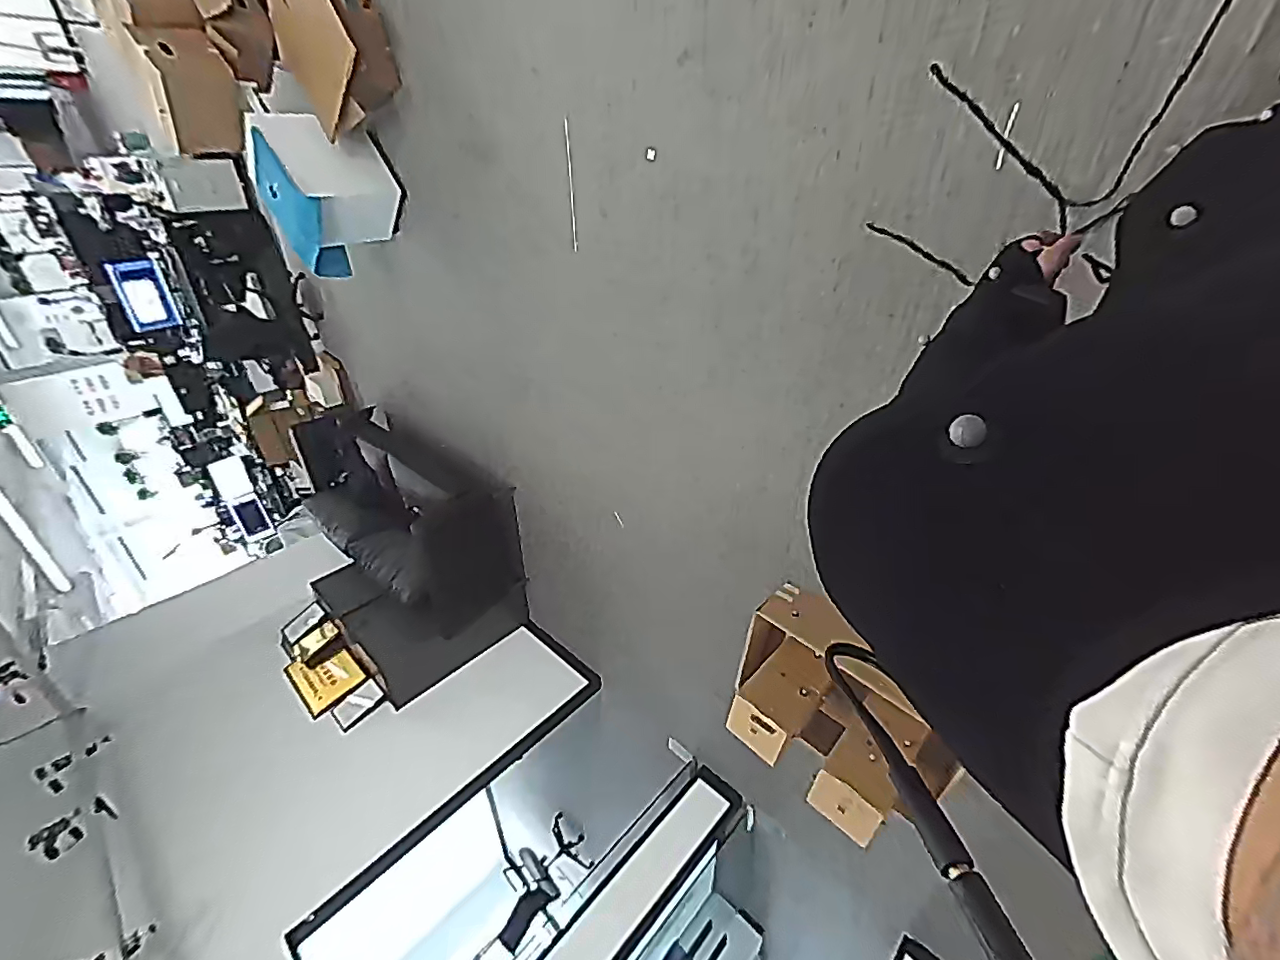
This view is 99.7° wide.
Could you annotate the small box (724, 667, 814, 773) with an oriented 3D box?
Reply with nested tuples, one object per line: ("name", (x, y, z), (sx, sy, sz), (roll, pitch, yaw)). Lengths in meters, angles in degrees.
("small box", (0.365, 0.667, 1.522), (0.168, 0.176, 0.179), (33, 134, 32))

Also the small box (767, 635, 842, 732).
("small box", (0.481, 0.607, 1.623), (0.168, 0.176, 0.179), (32, 132, 33))

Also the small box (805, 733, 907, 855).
("small box", (0.554, 0.798, 1.386), (0.168, 0.176, 0.179), (30, 132, 33))
